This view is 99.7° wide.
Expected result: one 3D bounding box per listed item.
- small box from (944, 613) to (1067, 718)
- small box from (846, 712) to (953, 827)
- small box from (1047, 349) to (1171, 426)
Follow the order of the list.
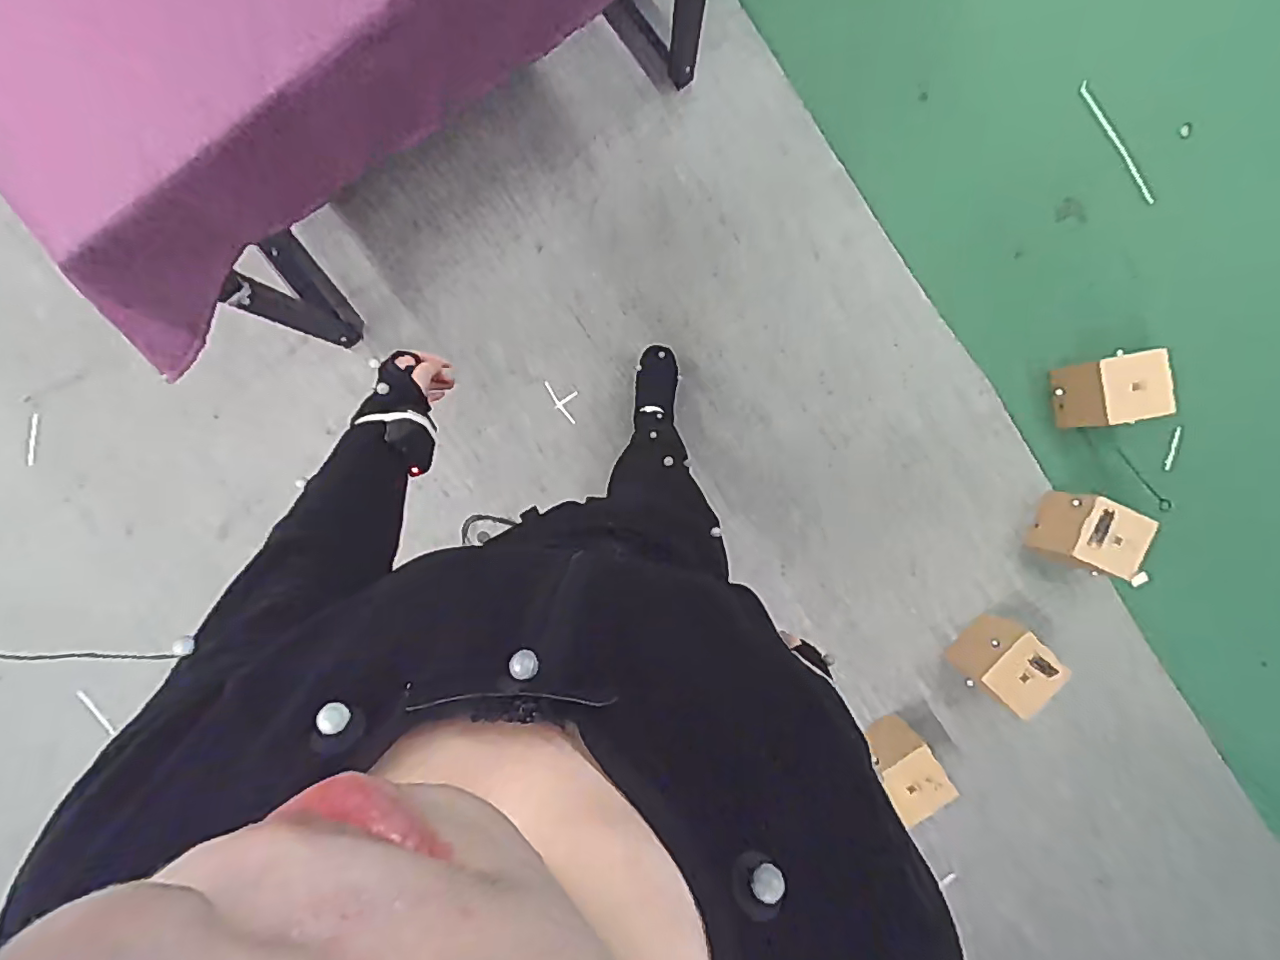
[{"bbox_3d":[0.962,0.484,1.442,0.168,0.176,0.179,44,92,-3],"label":"small box"},{"bbox_3d":[0.682,0.767,1.449,0.179,0.176,0.168,-33,94,0],"label":"small box"},{"bbox_3d":[1.221,-0.238,1.418,0.179,0.176,0.168,-10,93,-1],"label":"small box"}]
